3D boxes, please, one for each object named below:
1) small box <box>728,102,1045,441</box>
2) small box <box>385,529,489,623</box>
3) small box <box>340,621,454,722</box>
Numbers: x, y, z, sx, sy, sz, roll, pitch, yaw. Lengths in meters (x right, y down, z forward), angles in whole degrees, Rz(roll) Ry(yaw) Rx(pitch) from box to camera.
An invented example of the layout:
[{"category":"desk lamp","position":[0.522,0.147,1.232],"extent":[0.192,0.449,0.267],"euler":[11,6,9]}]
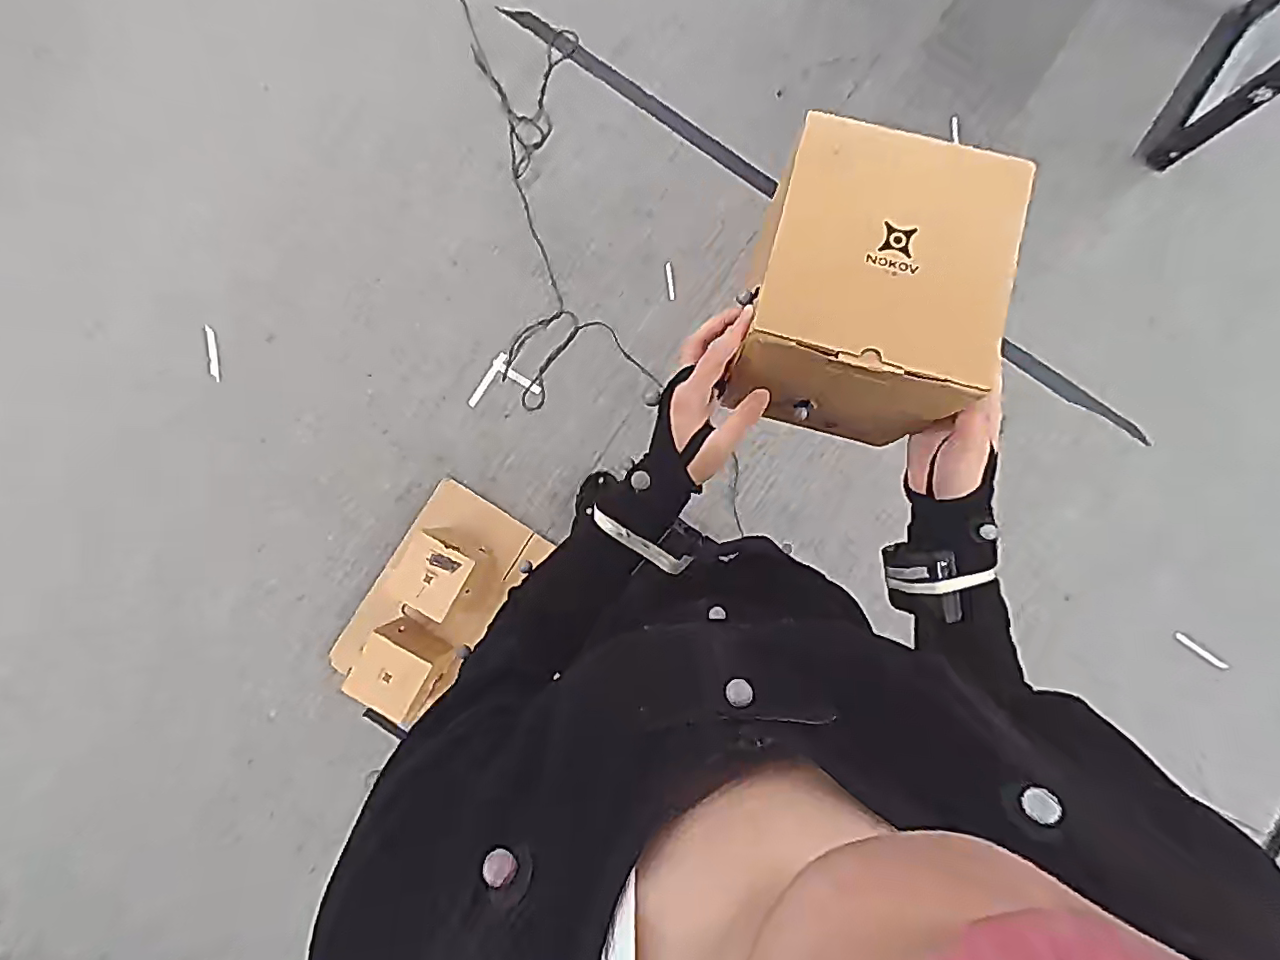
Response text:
[{"category":"small box","position":[0.178,-0.148,0.441],"extent":[0.168,0.176,0.179],"euler":[15,82,3]},{"category":"small box","position":[-0.511,0.239,1.395],"extent":[0.168,0.176,0.179],"euler":[29,88,2]},{"category":"small box","position":[-0.613,0.478,1.387],"extent":[0.179,0.176,0.168],"euler":[28,89,1]}]
